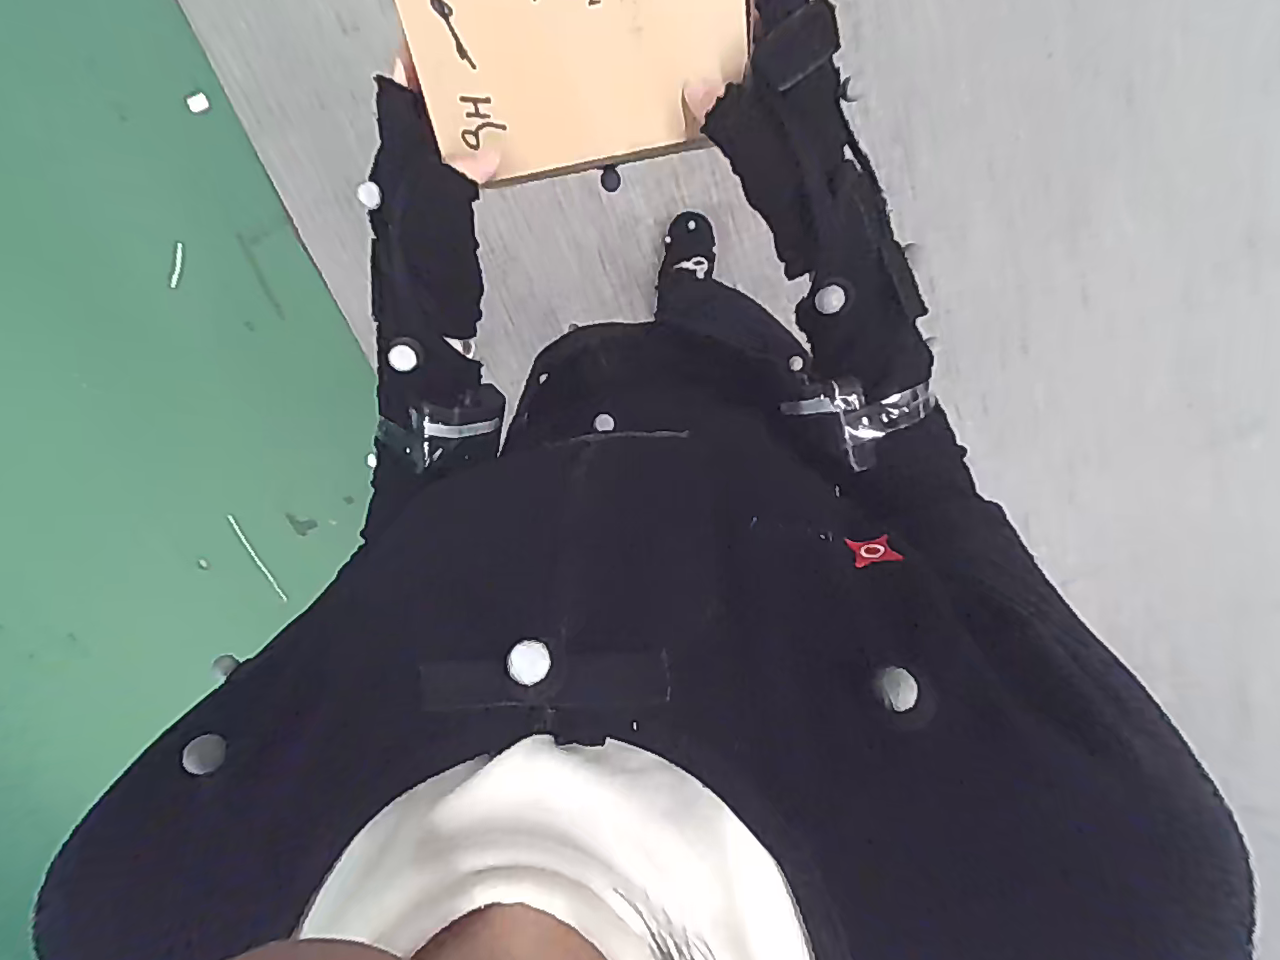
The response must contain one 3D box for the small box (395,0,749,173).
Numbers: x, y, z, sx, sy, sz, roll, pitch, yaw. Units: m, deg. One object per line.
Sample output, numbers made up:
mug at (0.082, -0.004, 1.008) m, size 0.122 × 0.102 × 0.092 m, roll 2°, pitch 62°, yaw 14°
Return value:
small box at (-0.041, -0.296, 0.330) m, size 0.179 × 0.176 × 0.168 m, roll -9°, pitch 119°, yaw 3°
